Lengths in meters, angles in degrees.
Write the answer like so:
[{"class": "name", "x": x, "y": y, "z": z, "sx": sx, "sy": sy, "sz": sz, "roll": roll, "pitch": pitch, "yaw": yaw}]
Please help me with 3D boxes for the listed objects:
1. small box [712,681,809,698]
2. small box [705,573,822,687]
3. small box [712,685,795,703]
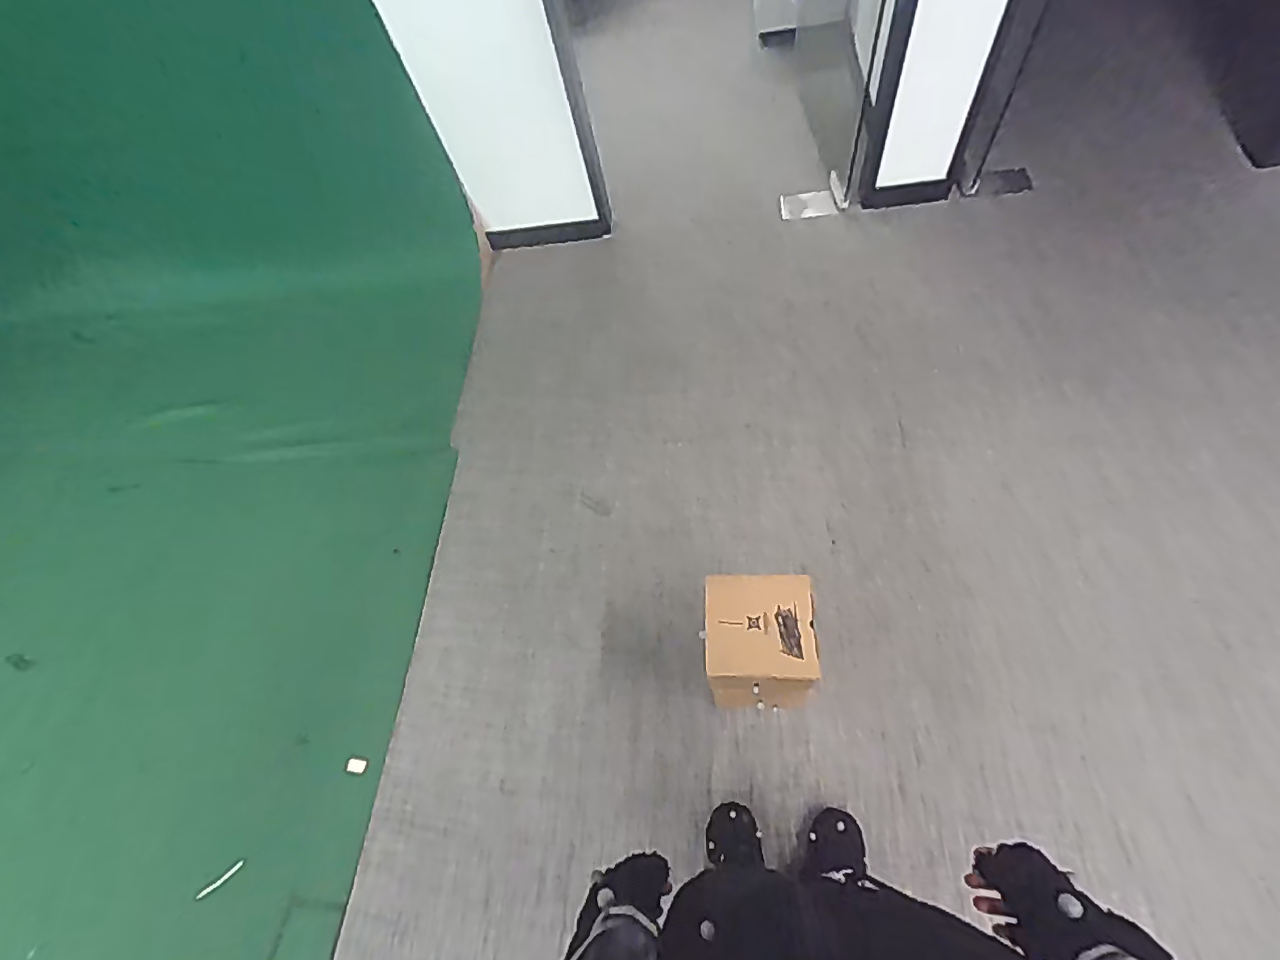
[{"class": "small box", "x": 0.235, "y": 0.343, "z": 1.090, "sx": 0.179, "sy": 0.176, "sz": 0.168, "roll": -2, "pitch": 63, "yaw": 9}, {"class": "small box", "x": 0.206, "y": 0.267, "z": 0.947, "sx": 0.179, "sy": 0.176, "sz": 0.168, "roll": -4, "pitch": 63, "yaw": 7}, {"class": "small box", "x": 0.256, "y": 0.413, "z": 1.236, "sx": 0.179, "sy": 0.176, "sz": 0.168, "roll": -3, "pitch": 62, "yaw": 11}]
